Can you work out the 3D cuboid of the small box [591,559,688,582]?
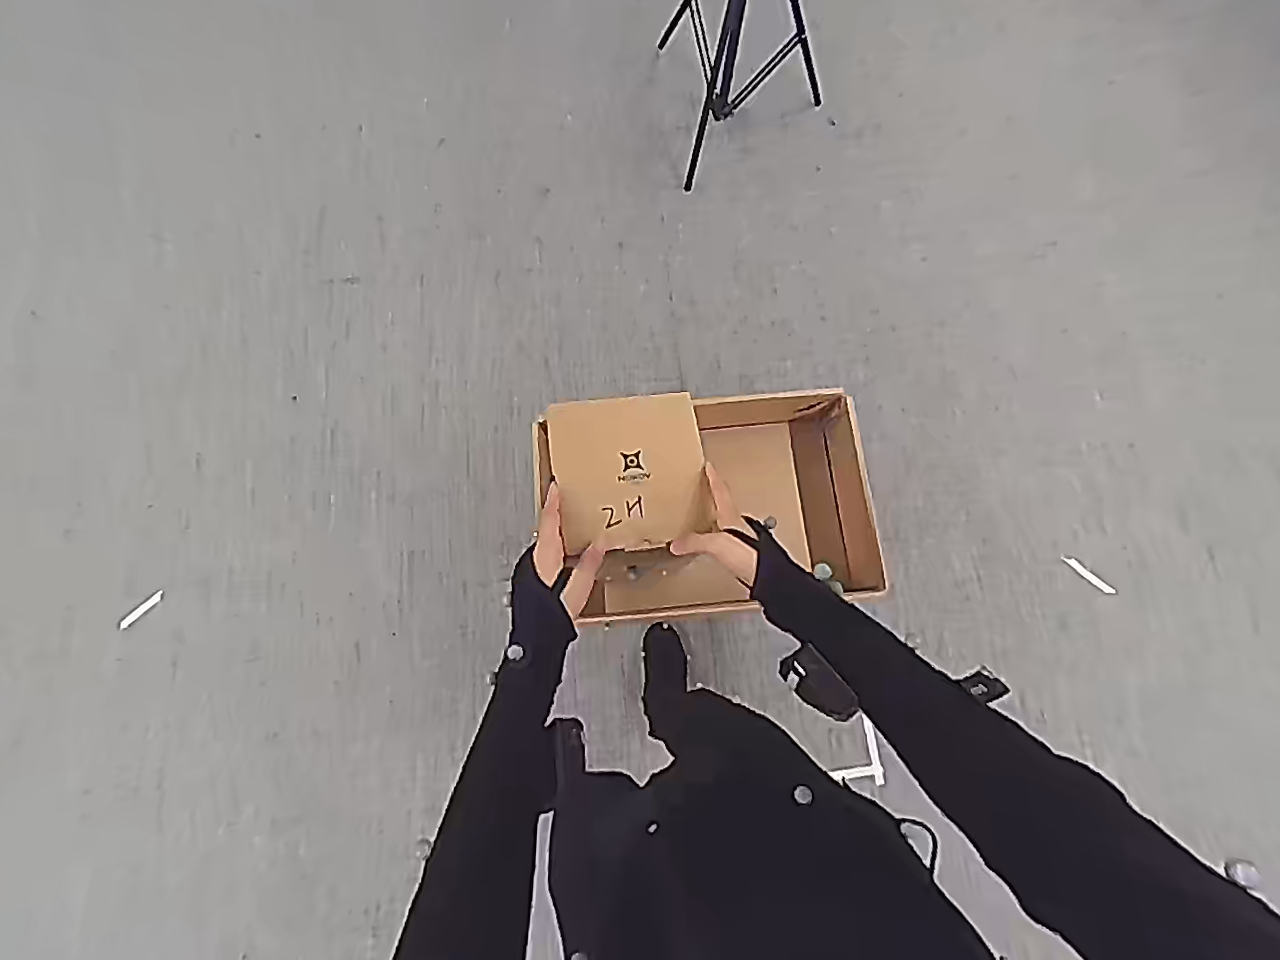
[{"bbox_3d":[-0.014,0.097,1.028,0.179,0.176,0.168,-9,76,-1],"label":"small box"}]

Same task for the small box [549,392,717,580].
[{"bbox_3d":[-0.022,0.013,0.656,0.168,0.176,0.179,-6,72,-10],"label":"small box"}]
